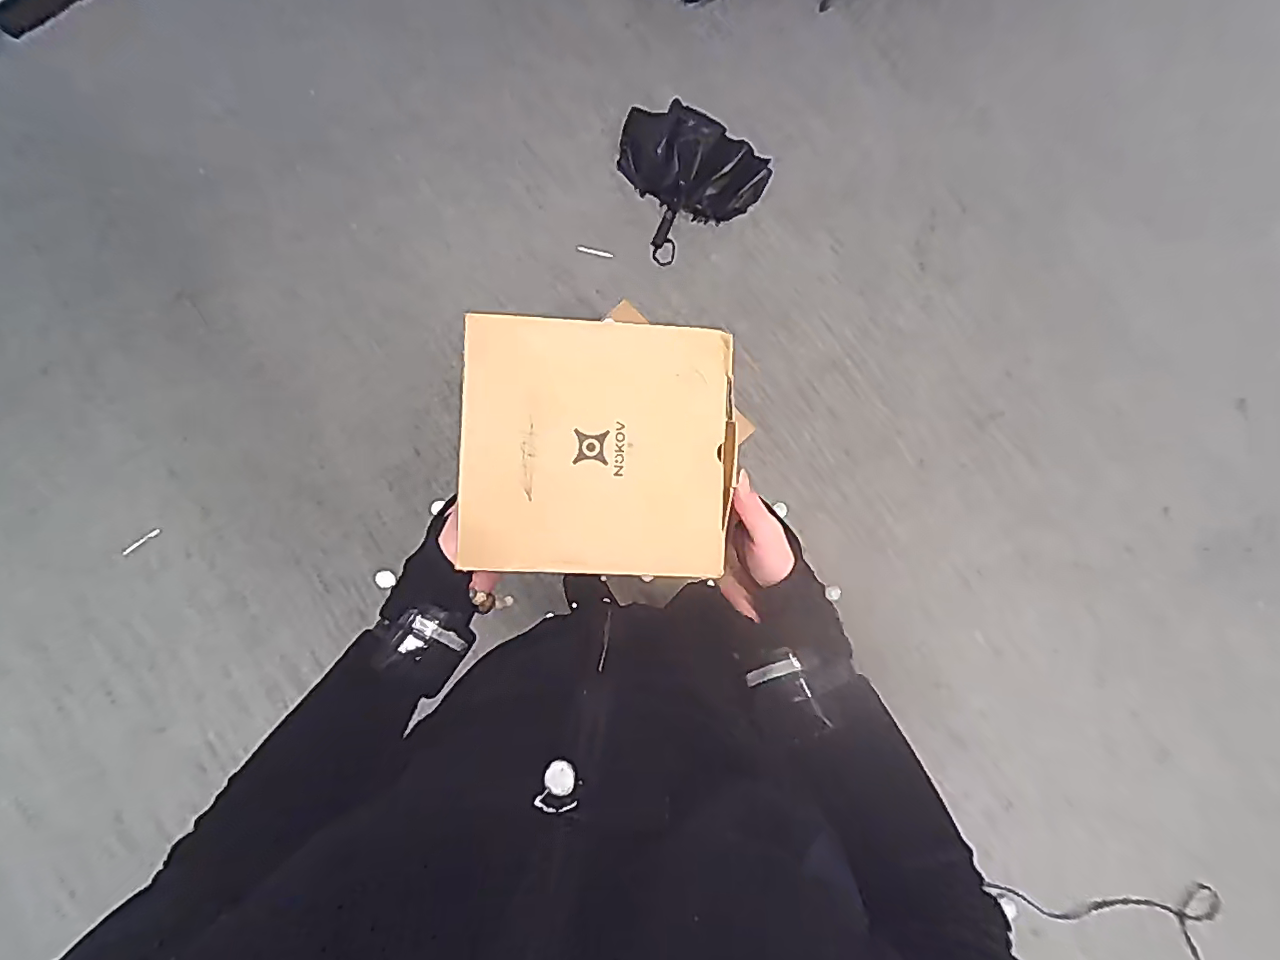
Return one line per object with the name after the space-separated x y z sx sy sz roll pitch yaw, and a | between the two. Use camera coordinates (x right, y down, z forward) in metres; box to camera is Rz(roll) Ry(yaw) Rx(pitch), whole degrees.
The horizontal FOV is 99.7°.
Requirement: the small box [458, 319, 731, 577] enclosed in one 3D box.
-0.033 -0.019 0.431 0.179 0.176 0.168 1 89 -3 | small box
